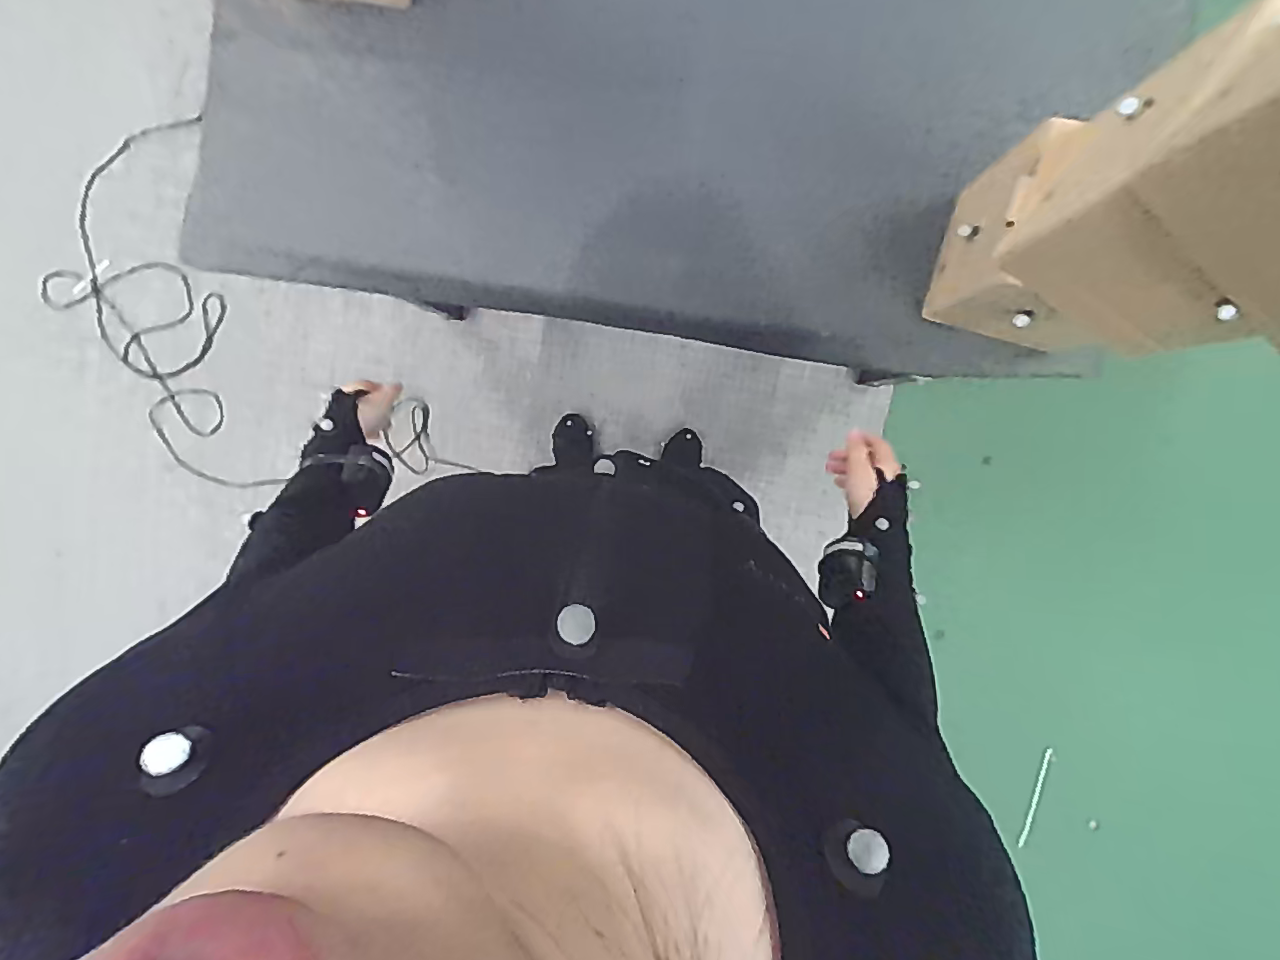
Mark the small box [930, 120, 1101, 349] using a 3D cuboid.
[{"bbox_3d":[0.466,-0.256,0.609,0.179,0.176,0.168,16,95,2],"label":"small box"}]

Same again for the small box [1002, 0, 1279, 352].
[{"bbox_3d":[0.459,-0.226,0.447,0.179,0.176,0.168,37,95,-2],"label":"small box"}]

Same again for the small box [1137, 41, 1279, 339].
[{"bbox_3d":[0.446,-0.190,0.286,0.168,0.176,0.179,-43,92,4],"label":"small box"}]
